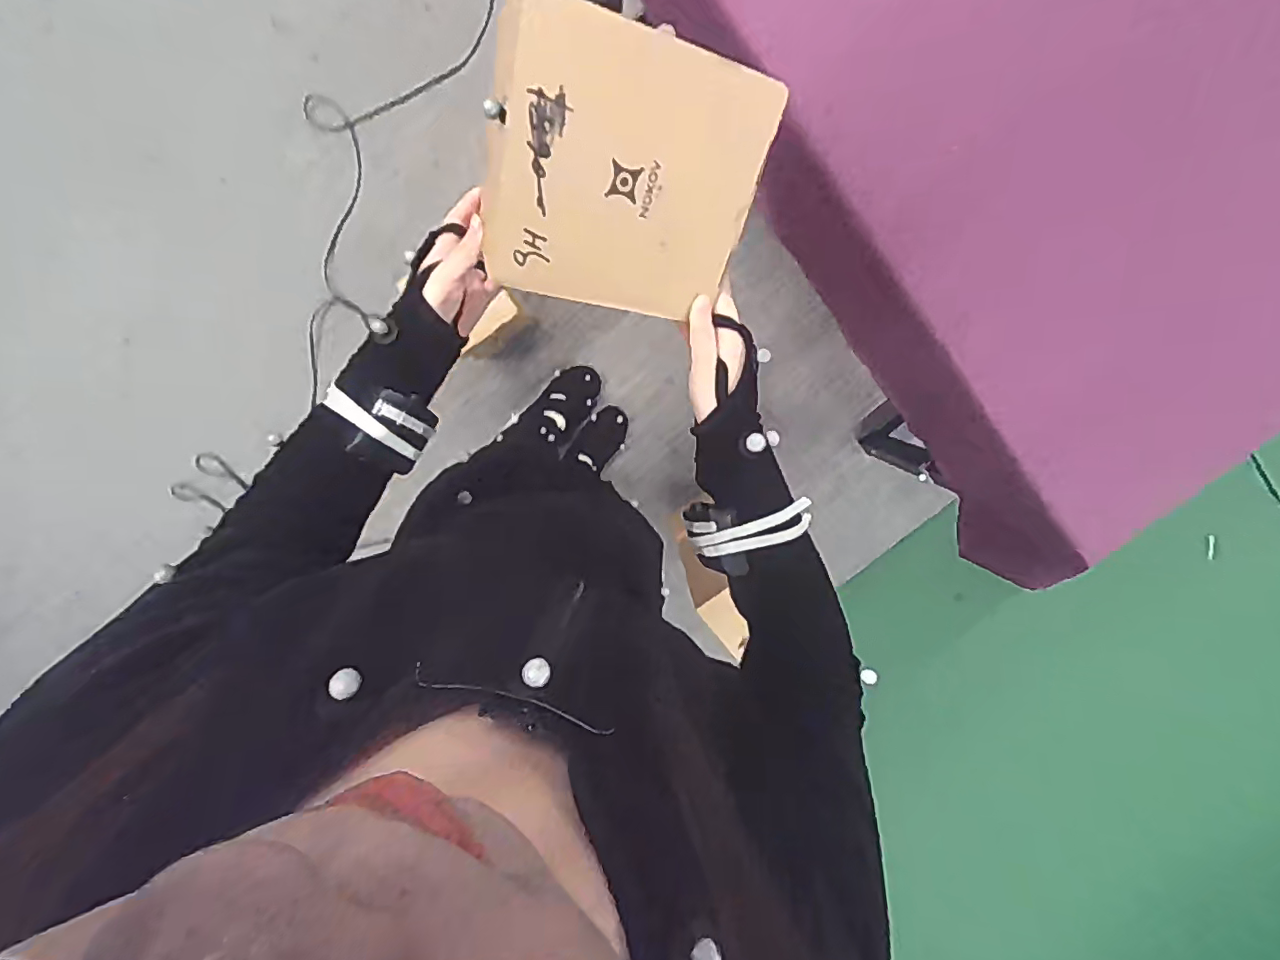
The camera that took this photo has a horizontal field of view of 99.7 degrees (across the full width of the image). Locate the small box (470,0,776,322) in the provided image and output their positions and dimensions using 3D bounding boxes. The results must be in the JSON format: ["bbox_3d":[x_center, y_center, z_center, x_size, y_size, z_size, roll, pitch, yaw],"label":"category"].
[{"bbox_3d":[-0.032,-0.245,0.429,0.179,0.176,0.168,3,124,-23],"label":"small box"}]

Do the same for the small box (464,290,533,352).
[{"bbox_3d":[-0.372,-0.420,1.274,0.179,0.176,0.168,-37,106,6],"label":"small box"}]

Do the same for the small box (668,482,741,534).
[{"bbox_3d":[0.192,0.122,1.470,0.168,0.176,0.179,-36,106,6],"label":"small box"}]

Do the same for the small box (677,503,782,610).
[{"bbox_3d":[0.208,0.174,1.316,0.168,0.176,0.179,-38,106,8],"label":"small box"}]

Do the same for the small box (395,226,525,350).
[{"bbox_3d":[-0.359,-0.385,1.113,0.168,0.176,0.179,-33,106,6],"label":"small box"}]
